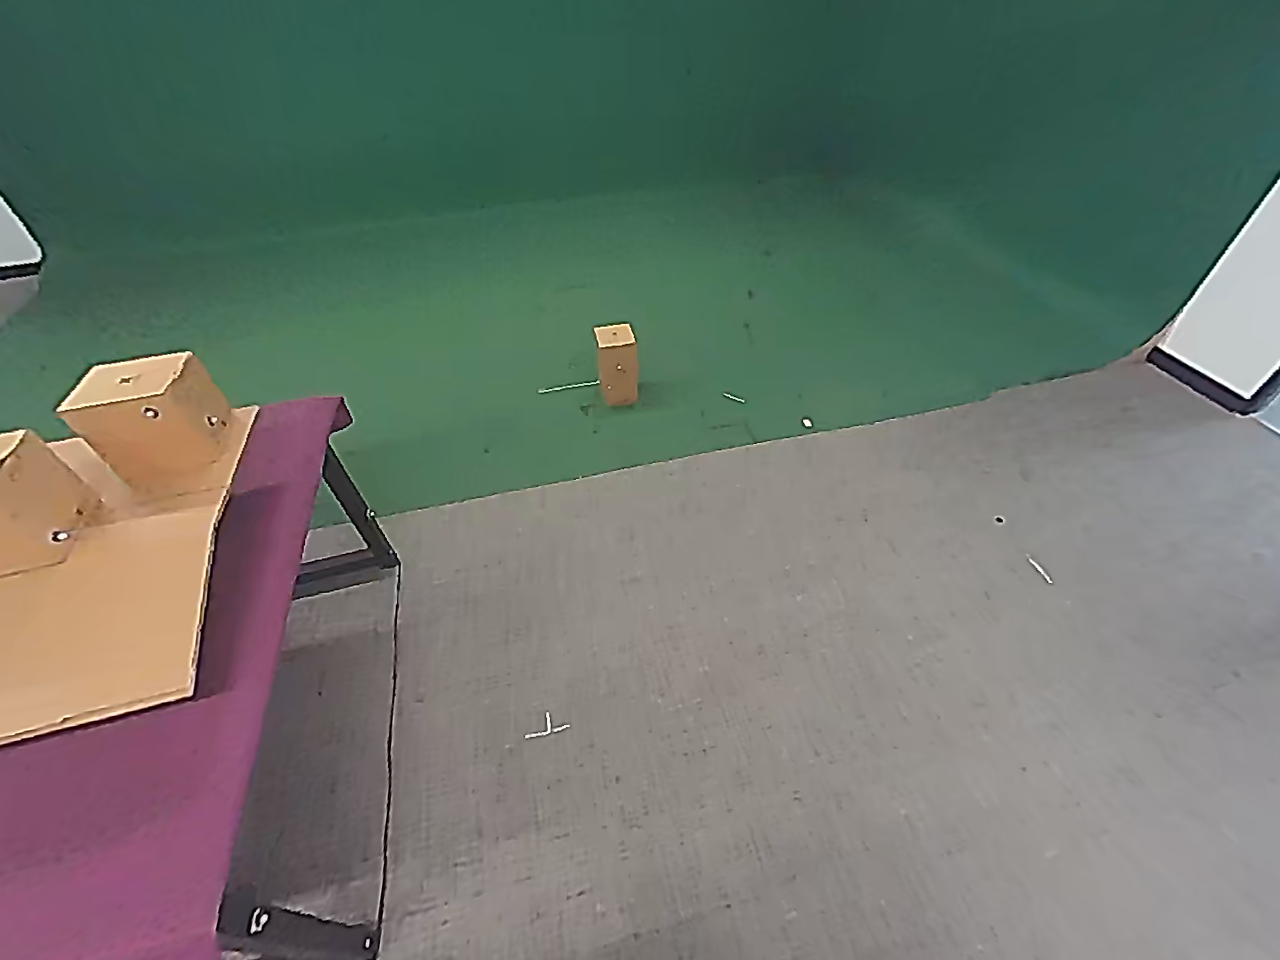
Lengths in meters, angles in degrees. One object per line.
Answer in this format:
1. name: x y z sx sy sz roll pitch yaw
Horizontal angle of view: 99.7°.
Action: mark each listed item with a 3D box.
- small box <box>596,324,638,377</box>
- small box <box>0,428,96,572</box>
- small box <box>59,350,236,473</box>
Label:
1. small box: -0.106 -0.598 2.495 0.168 0.176 0.179 -9 46 -7
2. small box: -1.075 0.043 0.890 0.179 0.176 0.168 -14 44 -10
3. small box: -0.958 -0.133 1.075 0.179 0.176 0.168 -12 44 -11
